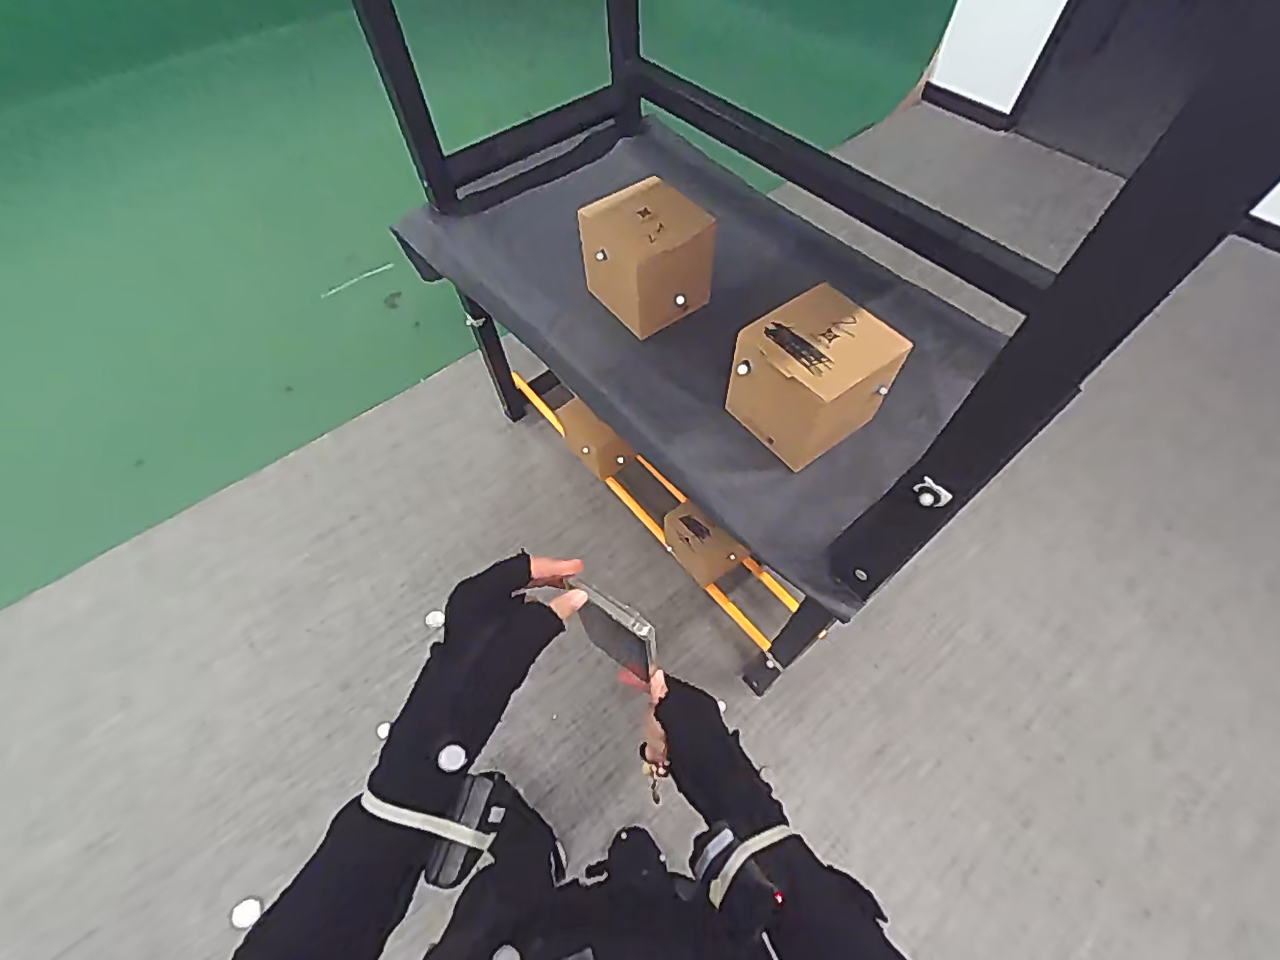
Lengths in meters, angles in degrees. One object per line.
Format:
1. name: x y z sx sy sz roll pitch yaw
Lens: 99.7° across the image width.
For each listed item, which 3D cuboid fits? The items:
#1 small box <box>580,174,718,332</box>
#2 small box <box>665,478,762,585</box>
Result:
1. small box: 0.014 -0.398 0.958 0.168 0.176 0.179 -33 64 -17
2. small box: 0.181 0.135 1.359 0.179 0.176 0.168 -33 64 -16
